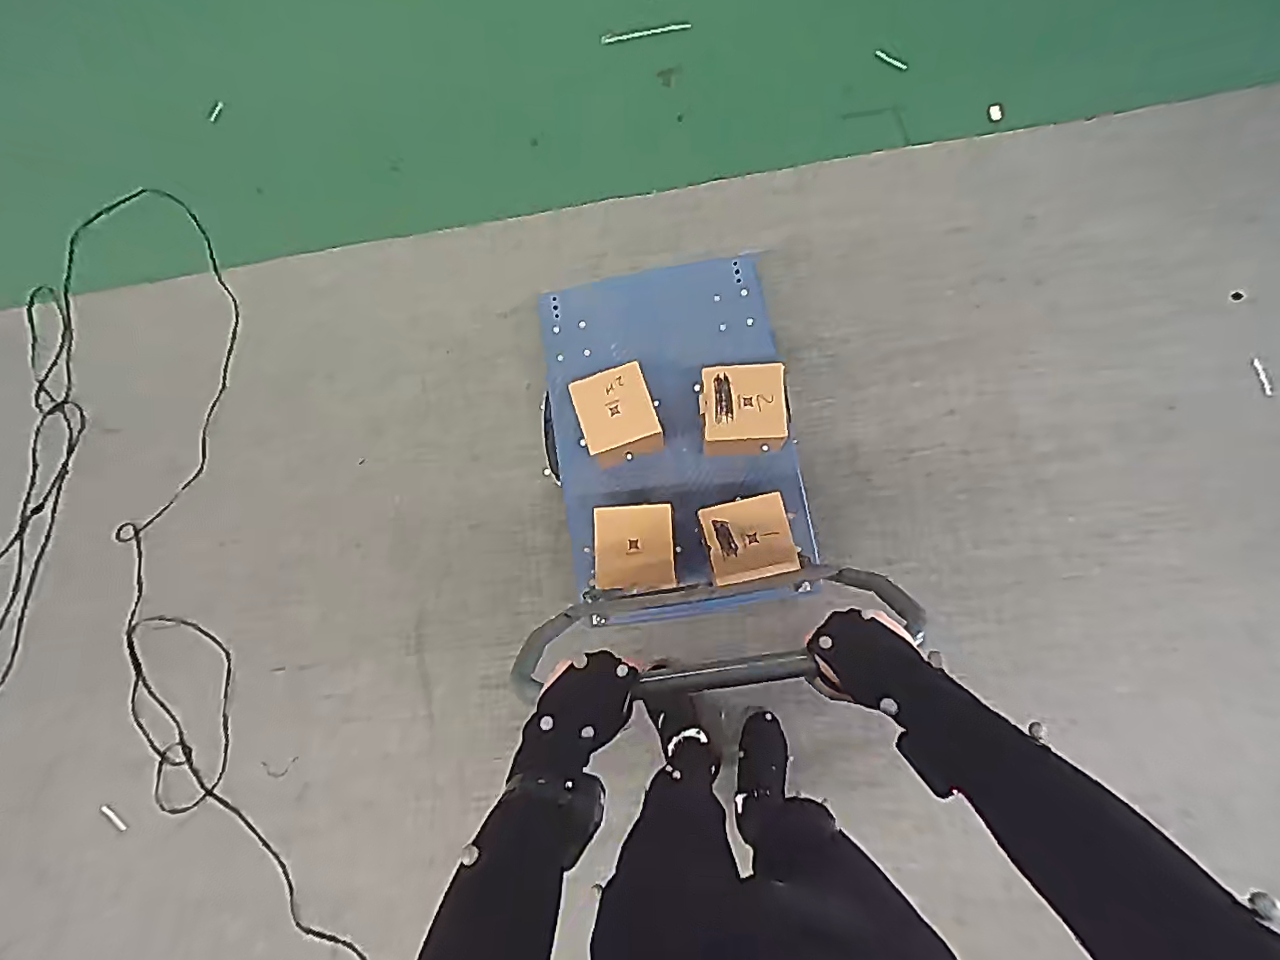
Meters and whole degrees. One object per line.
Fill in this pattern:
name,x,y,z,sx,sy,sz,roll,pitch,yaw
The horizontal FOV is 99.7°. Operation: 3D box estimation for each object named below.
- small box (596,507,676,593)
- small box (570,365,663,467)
small box,-0.006,0.160,1.205,0.168,0.176,0.179,-3,80,4
small box,-0.047,-0.137,1.263,0.168,0.176,0.179,-18,79,1
